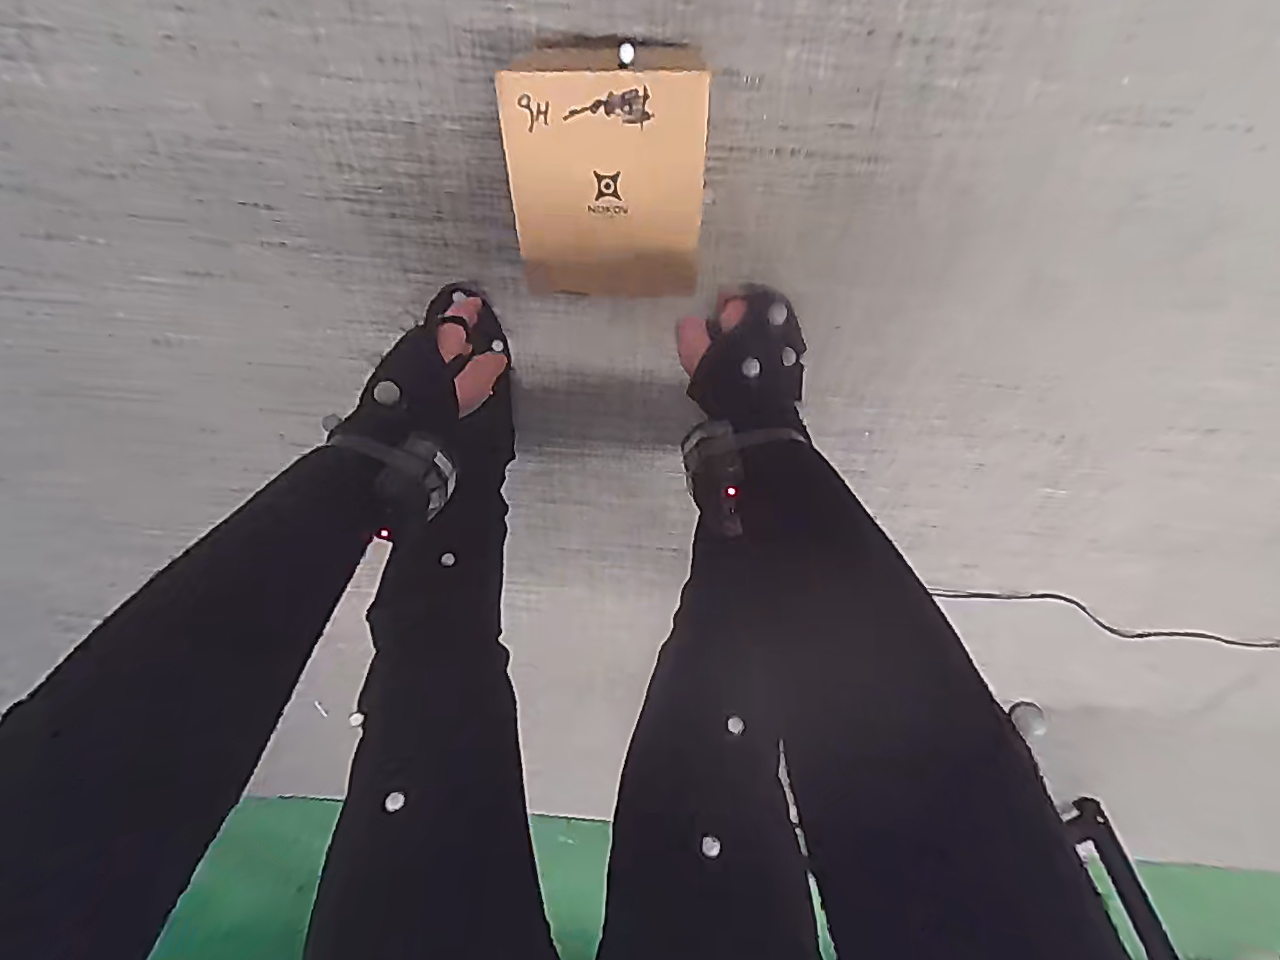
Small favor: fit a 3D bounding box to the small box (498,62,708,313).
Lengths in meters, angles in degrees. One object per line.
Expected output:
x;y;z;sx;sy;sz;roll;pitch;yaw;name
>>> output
-0.025;-0.284;0.526;0.168;0.176;0.179;2;134;2;small box
